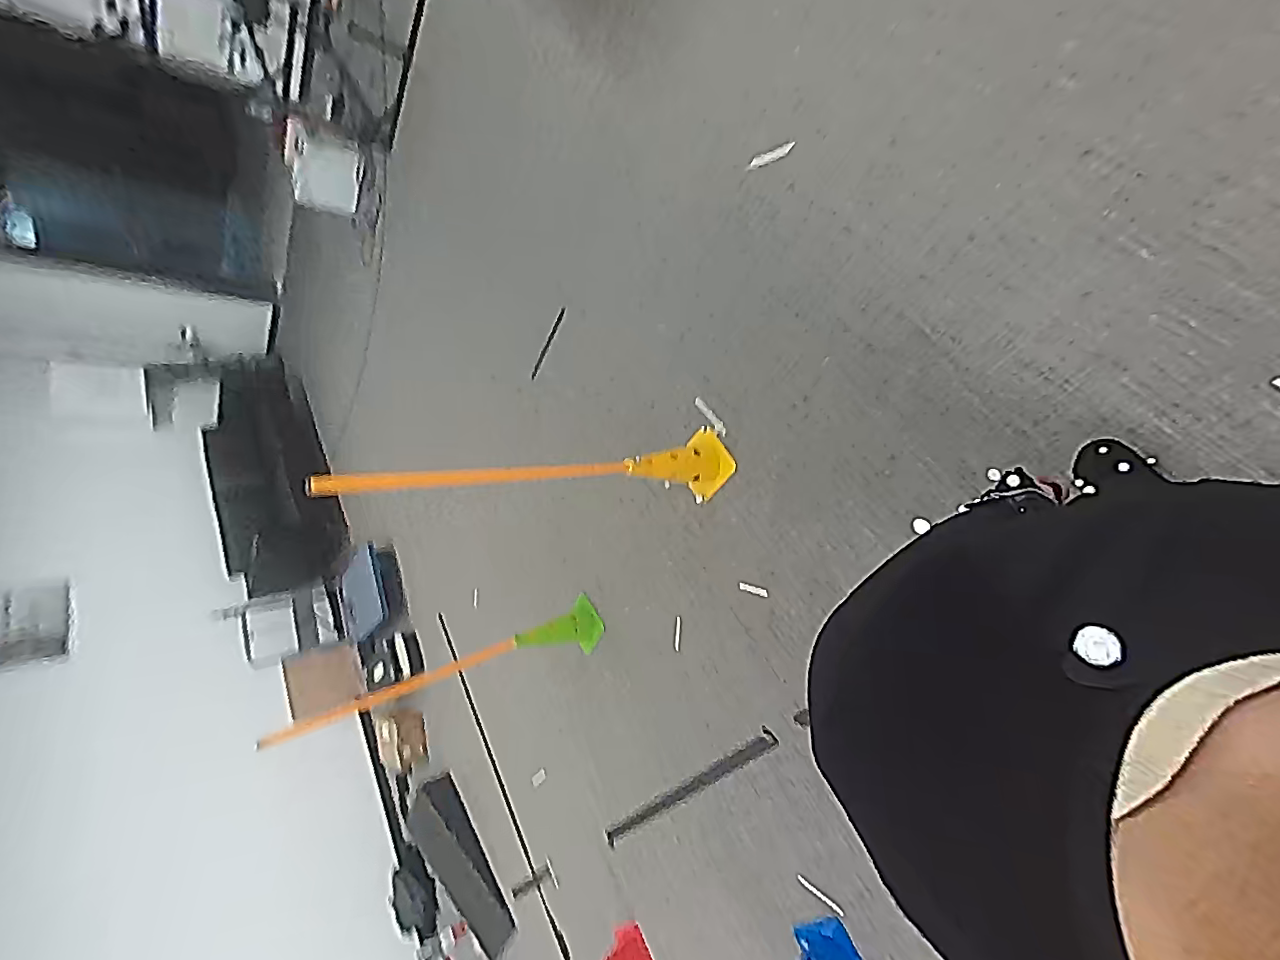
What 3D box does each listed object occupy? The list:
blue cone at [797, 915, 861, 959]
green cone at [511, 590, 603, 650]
[{"bbox_3d":[0.441,1.382,1.445,0.192,0.380,0.193,-50,58,36],"label":"blue cone"},{"bbox_3d":[-0.366,0.614,2.235,0.200,0.368,0.202,48,123,33],"label":"green cone"}]
